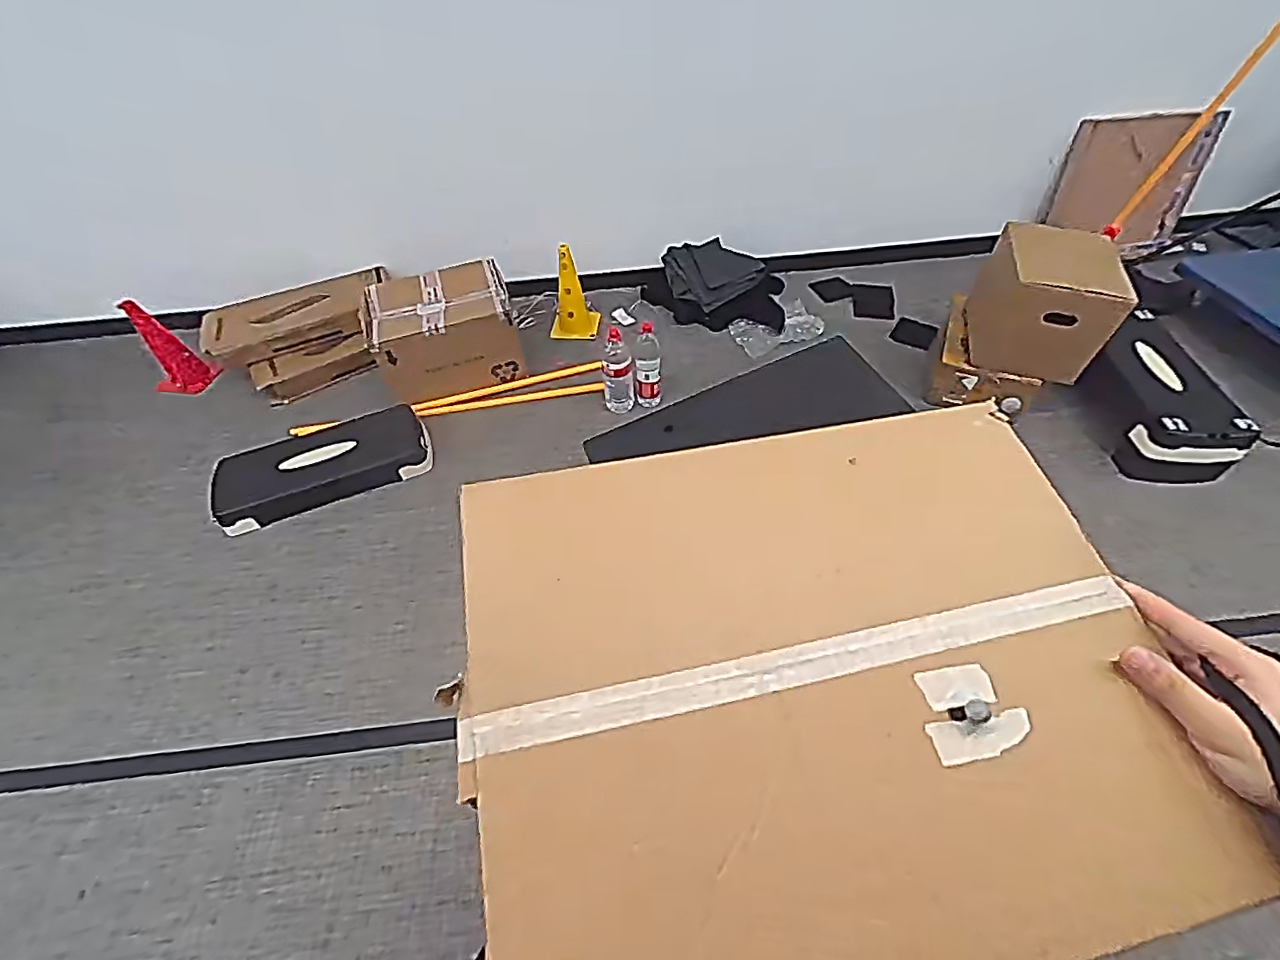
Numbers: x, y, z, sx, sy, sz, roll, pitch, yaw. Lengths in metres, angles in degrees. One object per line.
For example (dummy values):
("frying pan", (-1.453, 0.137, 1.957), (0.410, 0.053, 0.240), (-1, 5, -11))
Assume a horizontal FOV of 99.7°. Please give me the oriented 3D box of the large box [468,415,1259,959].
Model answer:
("large box", (0.099, 0.186, 0.457), (0.408, 0.320, 0.320), (-10, 62, -9))
